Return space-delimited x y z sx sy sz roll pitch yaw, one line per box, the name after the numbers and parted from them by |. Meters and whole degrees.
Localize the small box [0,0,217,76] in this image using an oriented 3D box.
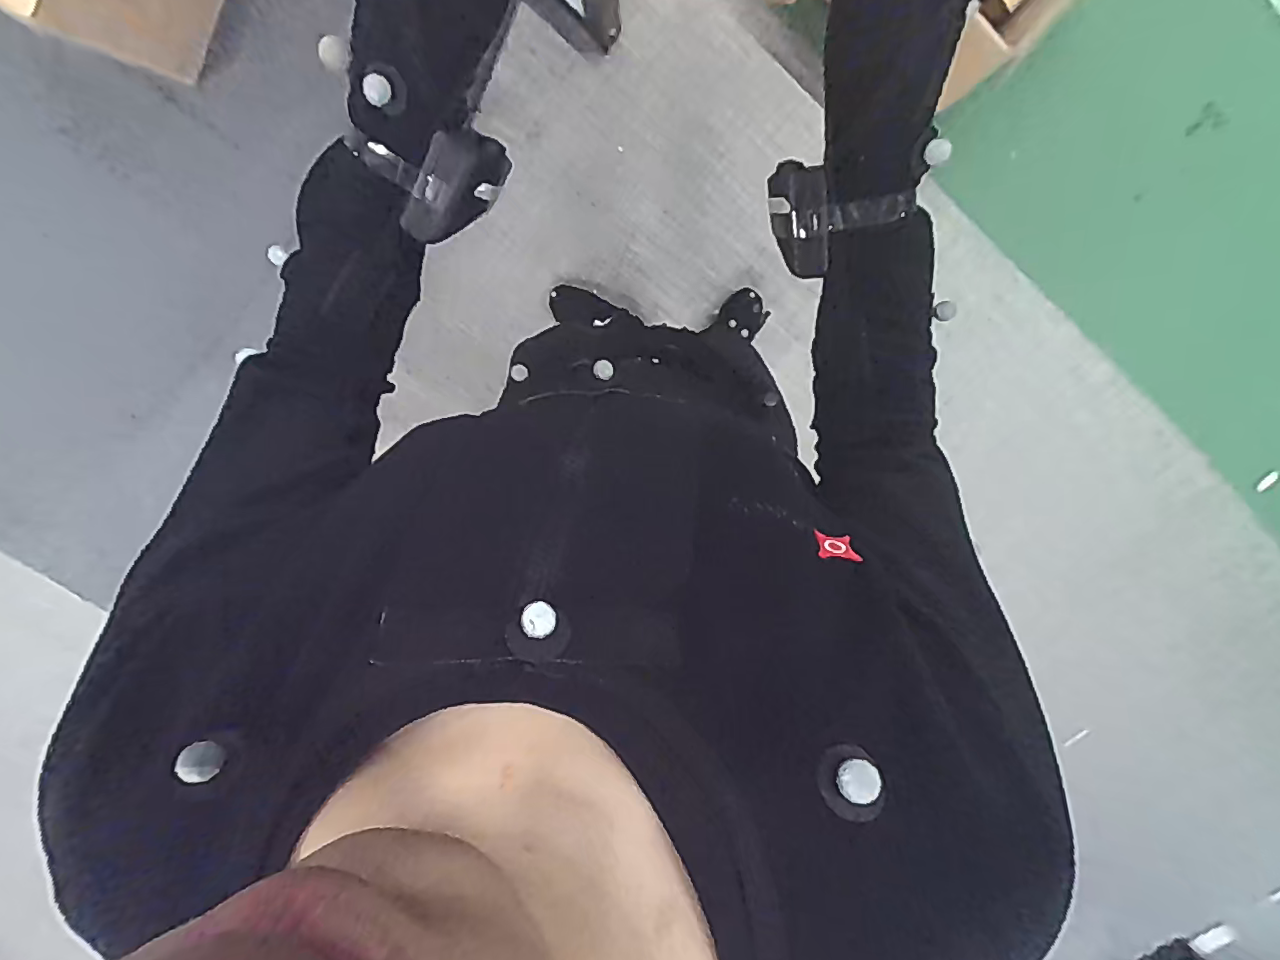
-0.485 -0.489 0.449 0.168 0.176 0.179 33 109 -14 | small box
